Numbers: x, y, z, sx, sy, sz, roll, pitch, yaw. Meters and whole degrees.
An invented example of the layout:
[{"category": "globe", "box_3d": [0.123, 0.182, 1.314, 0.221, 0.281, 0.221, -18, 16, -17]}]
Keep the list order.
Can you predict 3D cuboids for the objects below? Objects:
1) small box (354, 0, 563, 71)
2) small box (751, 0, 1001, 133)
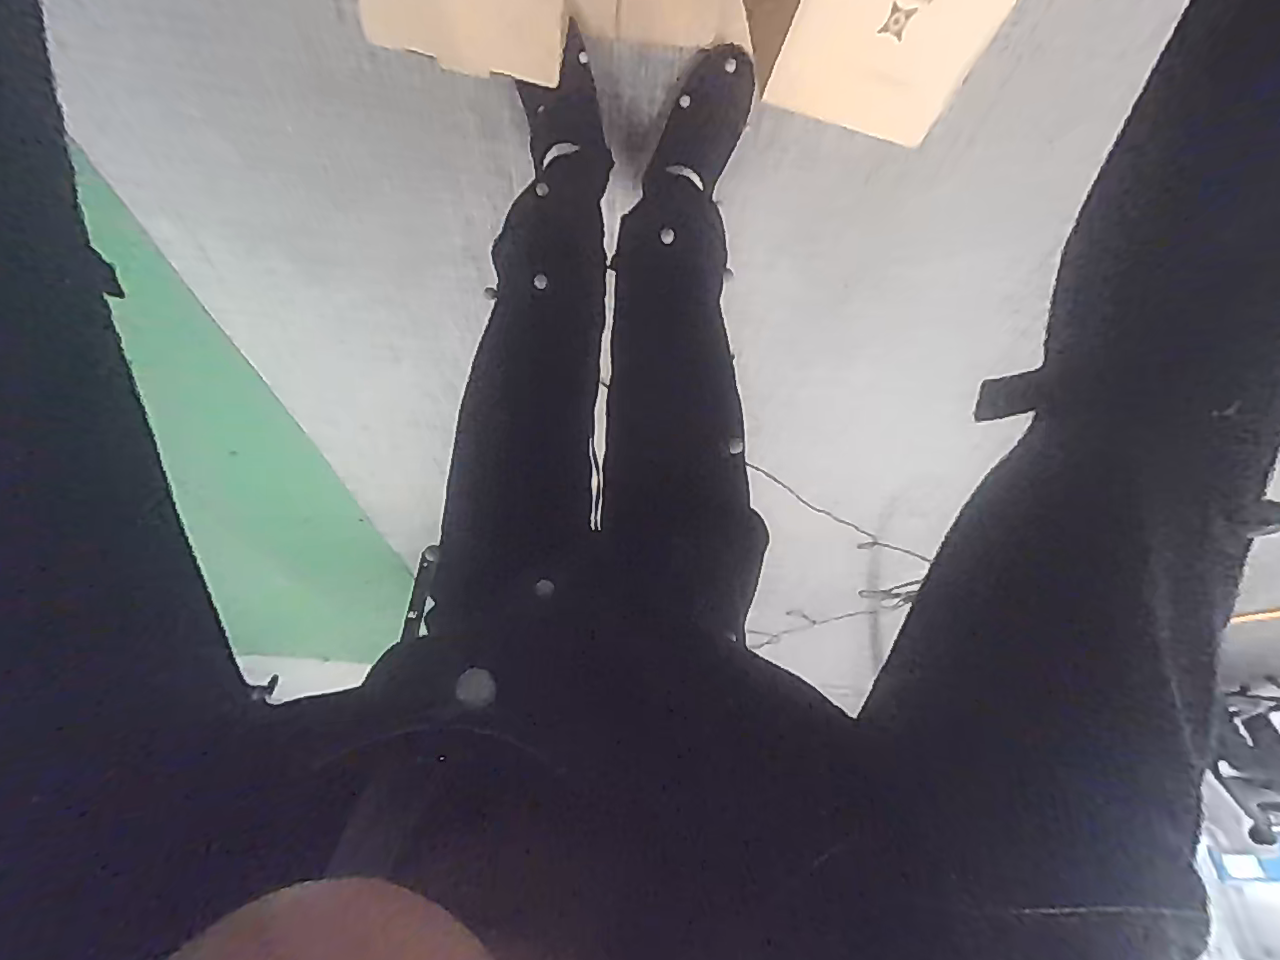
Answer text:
[{"category": "small box", "box_3d": [-0.138, -0.488, 0.436, 0.168, 0.176, 0.179, 7, 150, -11]}, {"category": "small box", "box_3d": [0.207, -0.457, 0.473, 0.168, 0.176, 0.179, 9, 149, -13]}]
